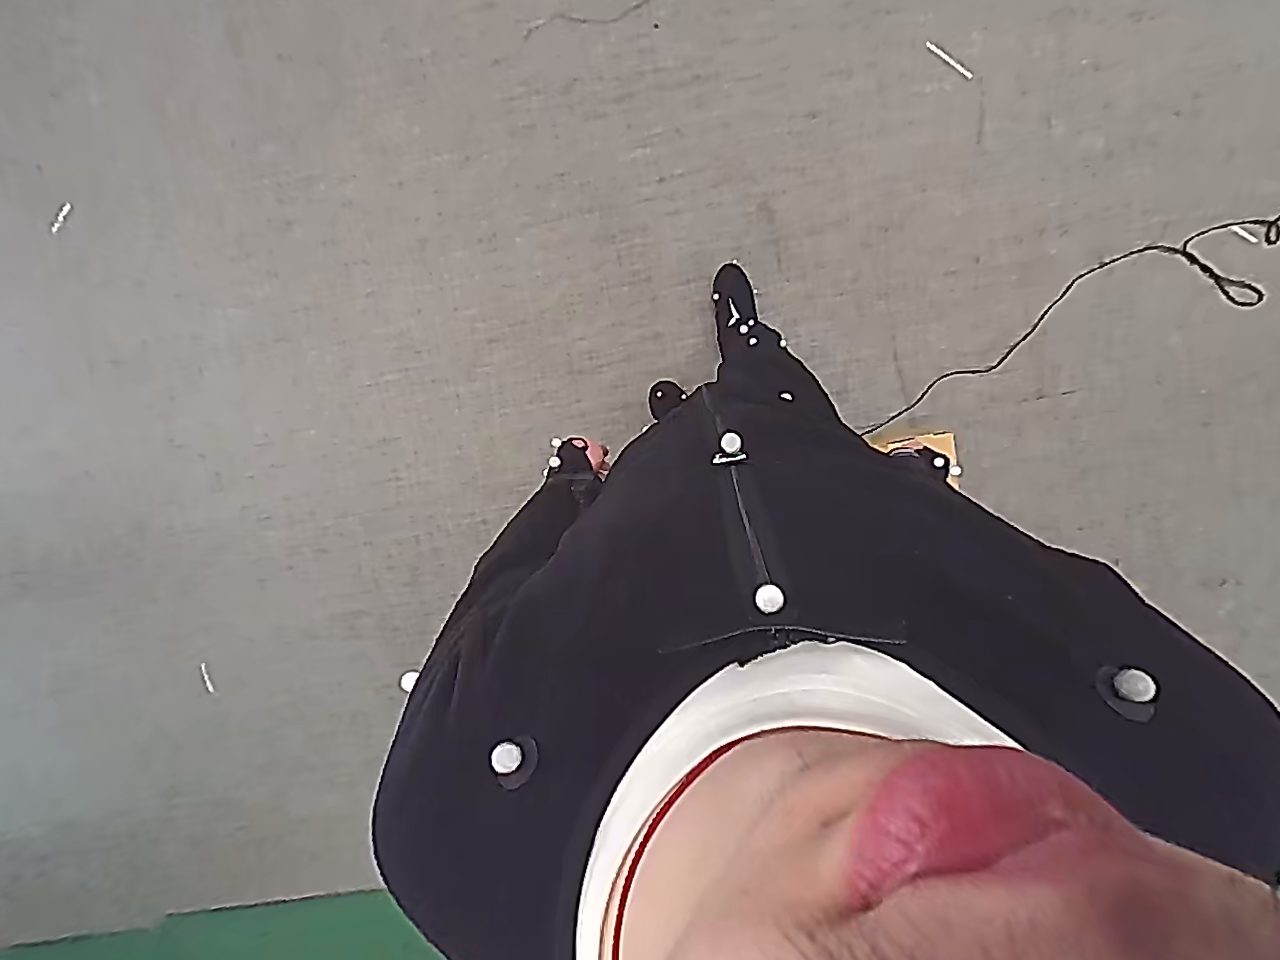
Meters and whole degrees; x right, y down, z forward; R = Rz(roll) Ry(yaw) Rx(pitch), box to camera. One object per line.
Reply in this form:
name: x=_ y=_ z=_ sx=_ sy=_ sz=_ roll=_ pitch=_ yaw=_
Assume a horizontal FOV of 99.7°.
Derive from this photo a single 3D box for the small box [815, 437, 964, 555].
small box: x=0.423 y=0.025 z=0.930 sx=0.168 sy=0.179 sz=0.176 roll=-11 pitch=93 yaw=-1
